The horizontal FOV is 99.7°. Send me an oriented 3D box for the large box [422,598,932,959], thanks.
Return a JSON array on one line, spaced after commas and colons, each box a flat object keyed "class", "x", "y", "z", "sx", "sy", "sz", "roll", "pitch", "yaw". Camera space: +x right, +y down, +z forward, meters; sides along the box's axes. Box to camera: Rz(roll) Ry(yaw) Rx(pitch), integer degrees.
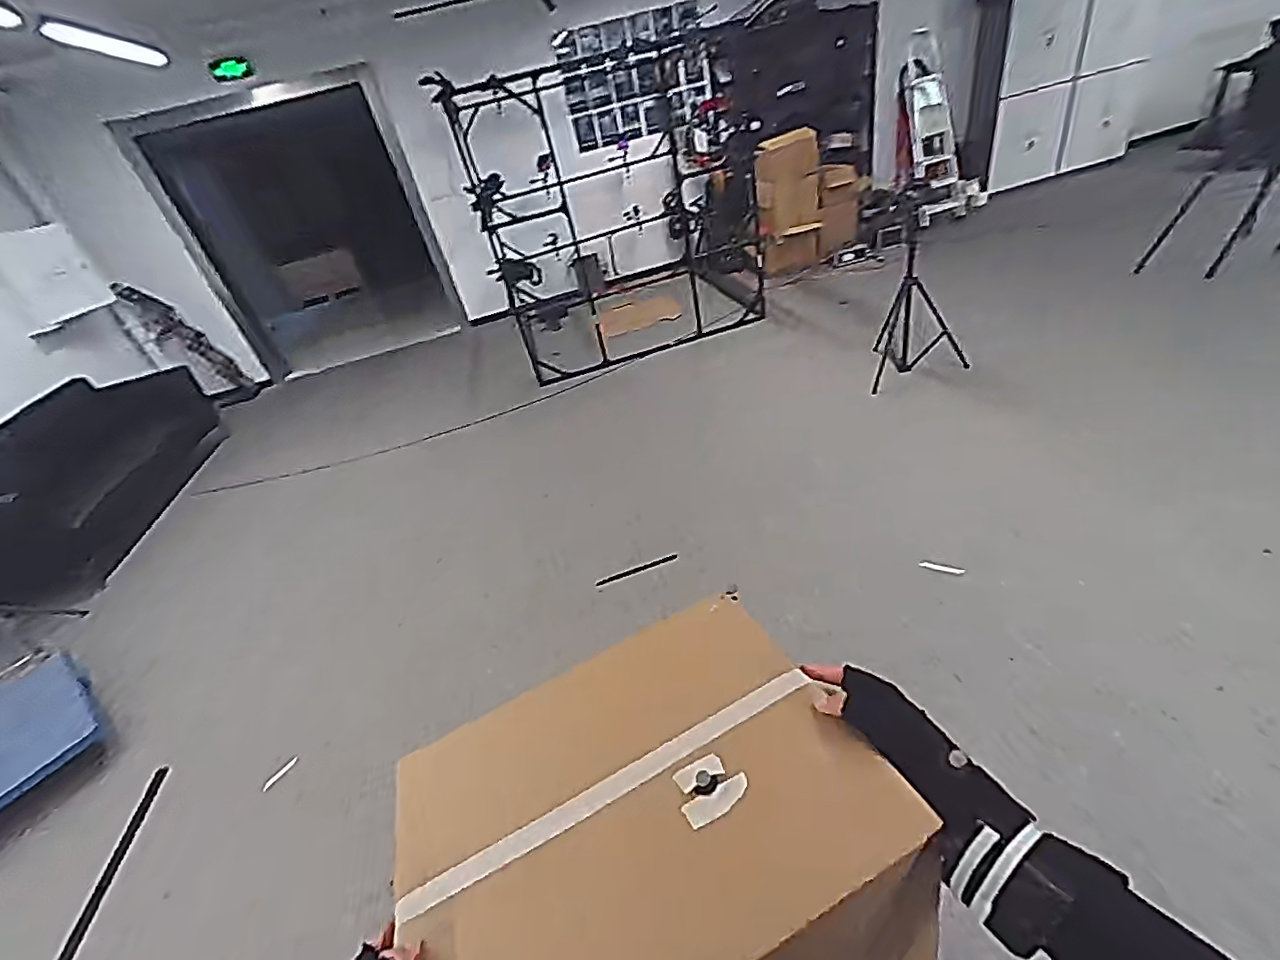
[{"class": "large box", "x": 0.032, "y": 0.404, "z": 0.569, "sx": 0.408, "sy": 0.320, "sz": 0.320, "roll": -23, "pitch": 30, "yaw": -12}]
